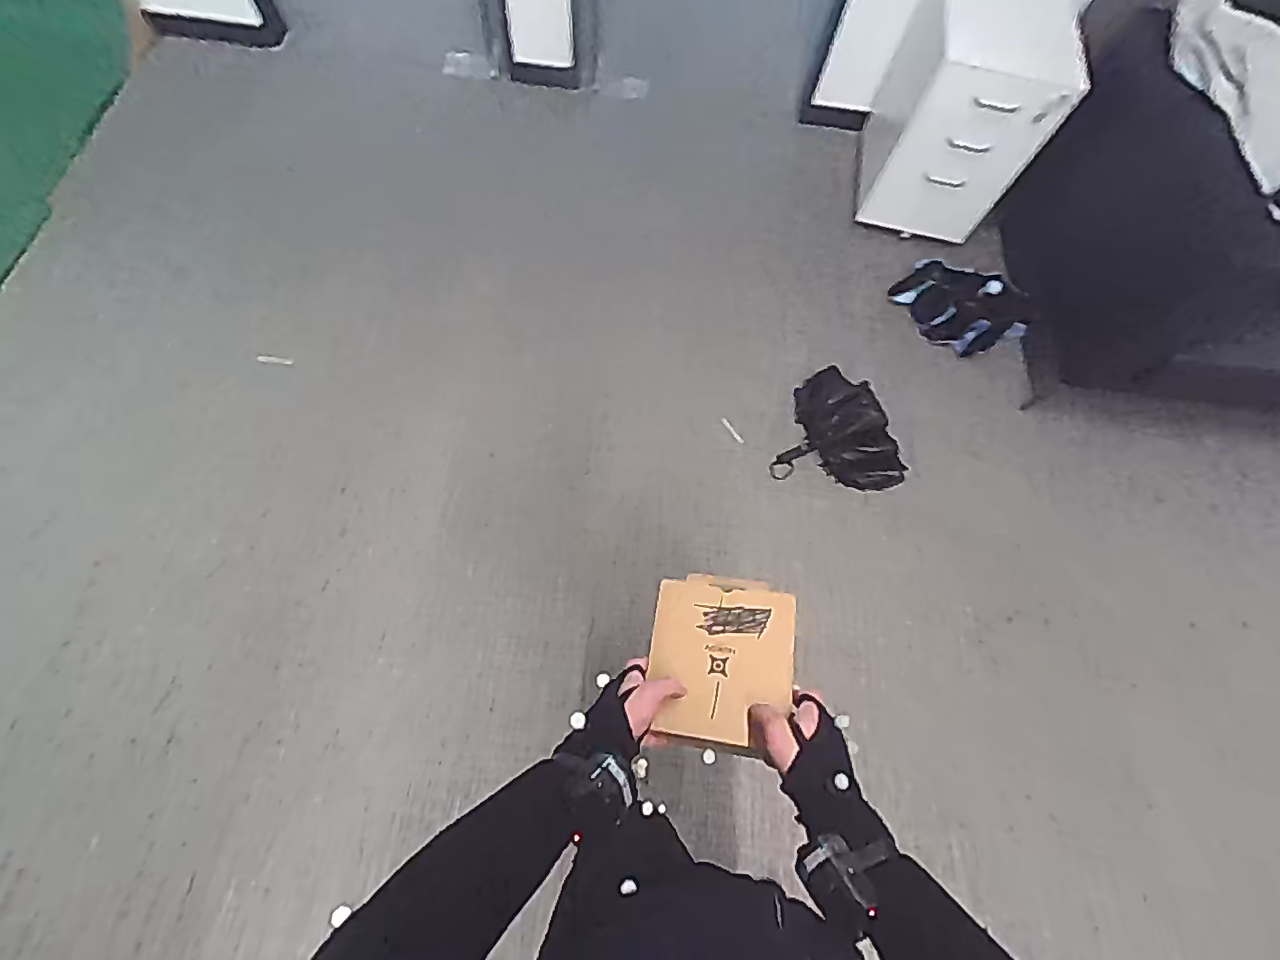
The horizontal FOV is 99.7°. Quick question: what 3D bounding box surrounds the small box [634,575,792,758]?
[{"bbox_3d":[0.097,0.239,0.685,0.168,0.176,0.179,4,61,13],"label":"small box"}]
